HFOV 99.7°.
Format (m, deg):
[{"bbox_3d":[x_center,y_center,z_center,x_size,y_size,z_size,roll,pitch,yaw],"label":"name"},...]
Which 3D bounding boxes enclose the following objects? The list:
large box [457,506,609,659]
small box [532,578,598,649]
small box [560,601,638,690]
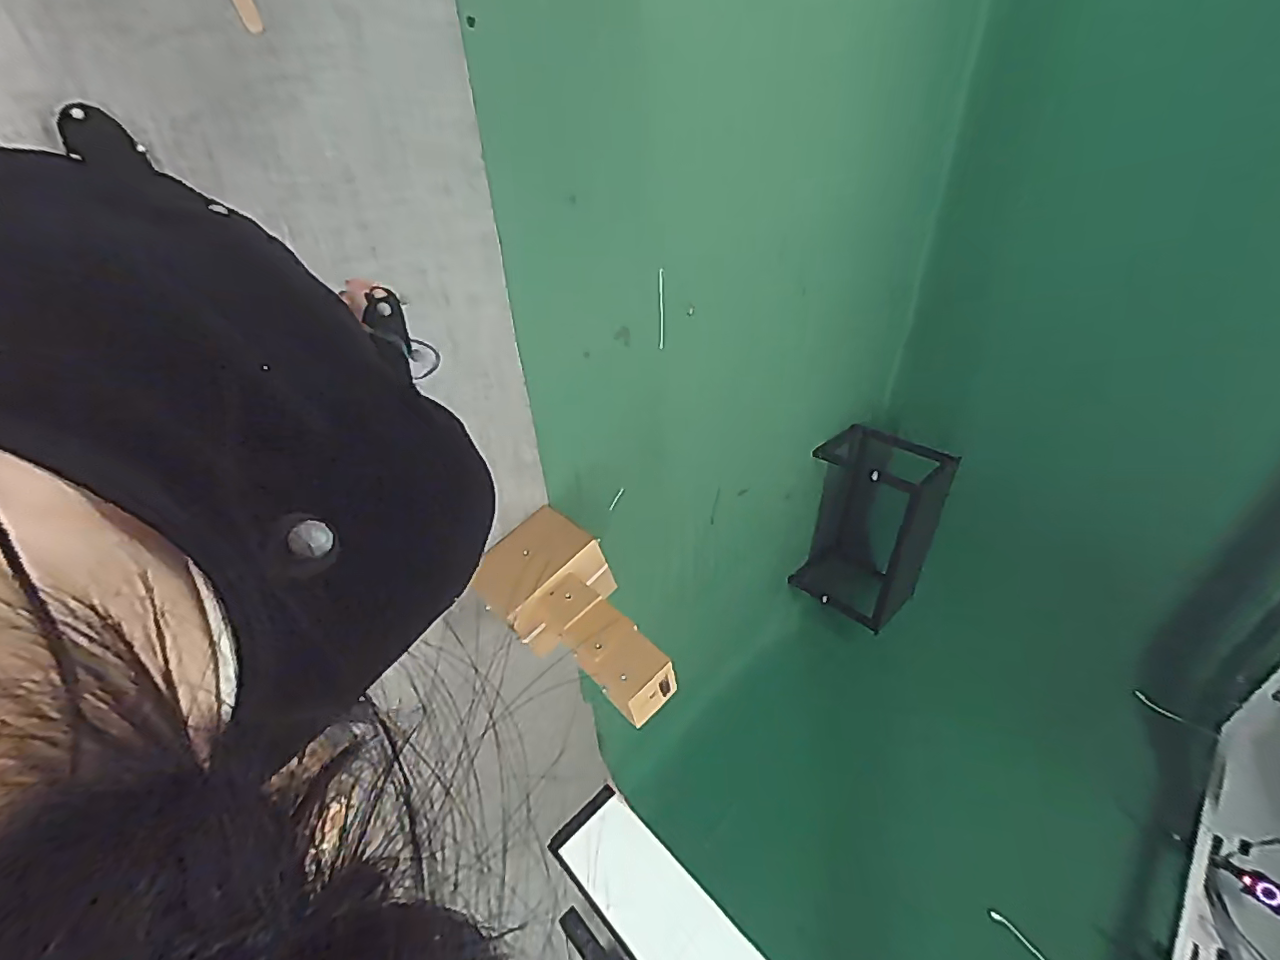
[{"bbox_3d":[-0.390,0.374,2.026,0.408,0.320,0.320,-43,140,-25],"label":"large box"},{"bbox_3d":[-0.243,0.460,1.845,0.168,0.176,0.179,-37,136,-27],"label":"small box"},{"bbox_3d":[-0.132,0.528,1.749,0.179,0.176,0.168,-36,135,-28],"label":"small box"}]
